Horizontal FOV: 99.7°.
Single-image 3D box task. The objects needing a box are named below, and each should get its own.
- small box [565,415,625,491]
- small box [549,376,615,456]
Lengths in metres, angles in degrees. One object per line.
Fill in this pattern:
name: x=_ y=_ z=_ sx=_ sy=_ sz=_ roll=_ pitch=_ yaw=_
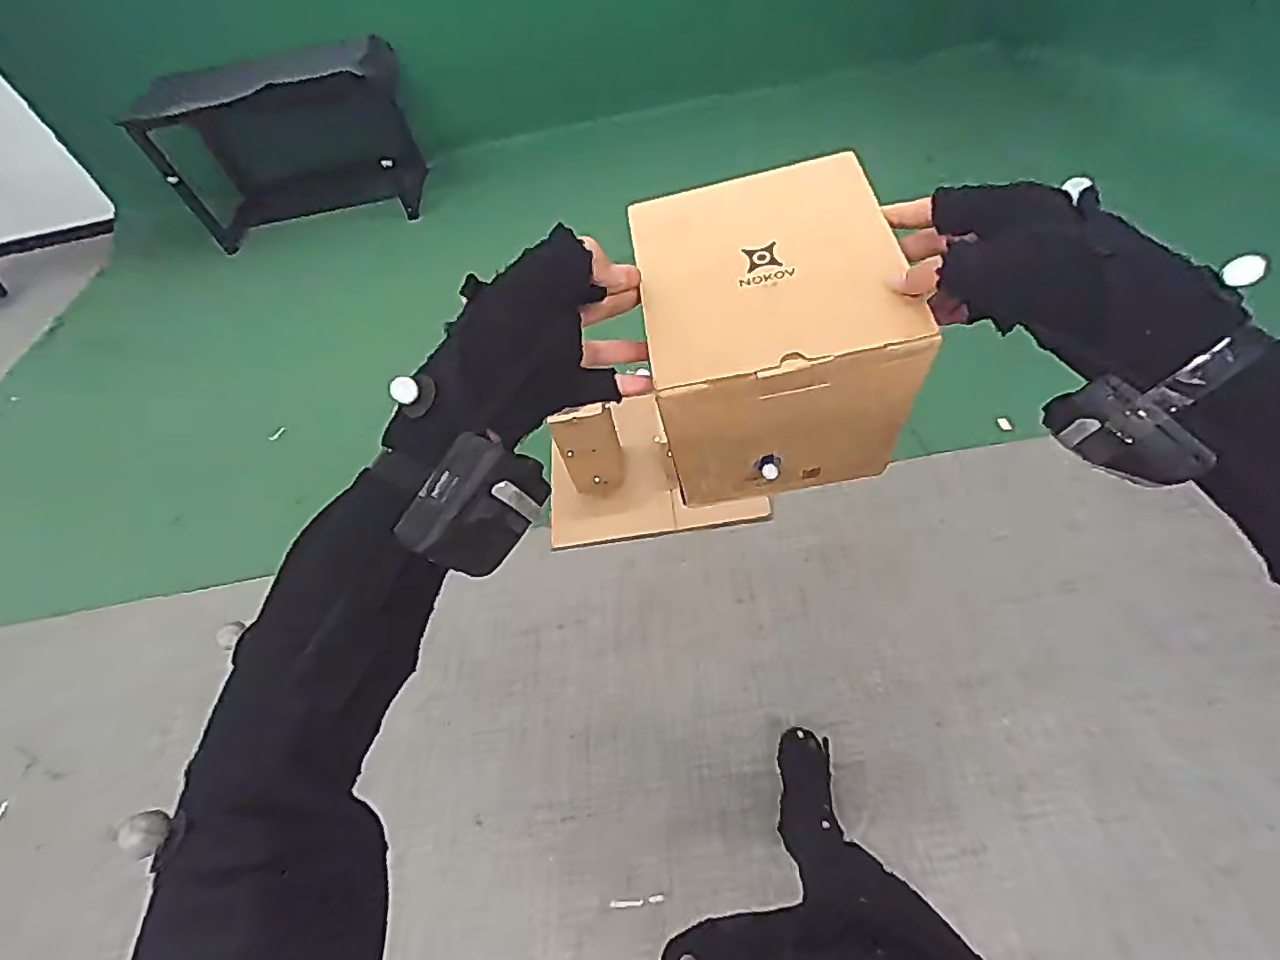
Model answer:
small box: x=-0.147 y=-0.090 z=1.788 sx=0.168 sy=0.176 sz=0.179 roll=-11 pitch=52 yaw=4
small box: x=-0.174 y=-0.188 z=1.660 sx=0.168 sy=0.176 sz=0.179 roll=-9 pitch=51 yaw=5
